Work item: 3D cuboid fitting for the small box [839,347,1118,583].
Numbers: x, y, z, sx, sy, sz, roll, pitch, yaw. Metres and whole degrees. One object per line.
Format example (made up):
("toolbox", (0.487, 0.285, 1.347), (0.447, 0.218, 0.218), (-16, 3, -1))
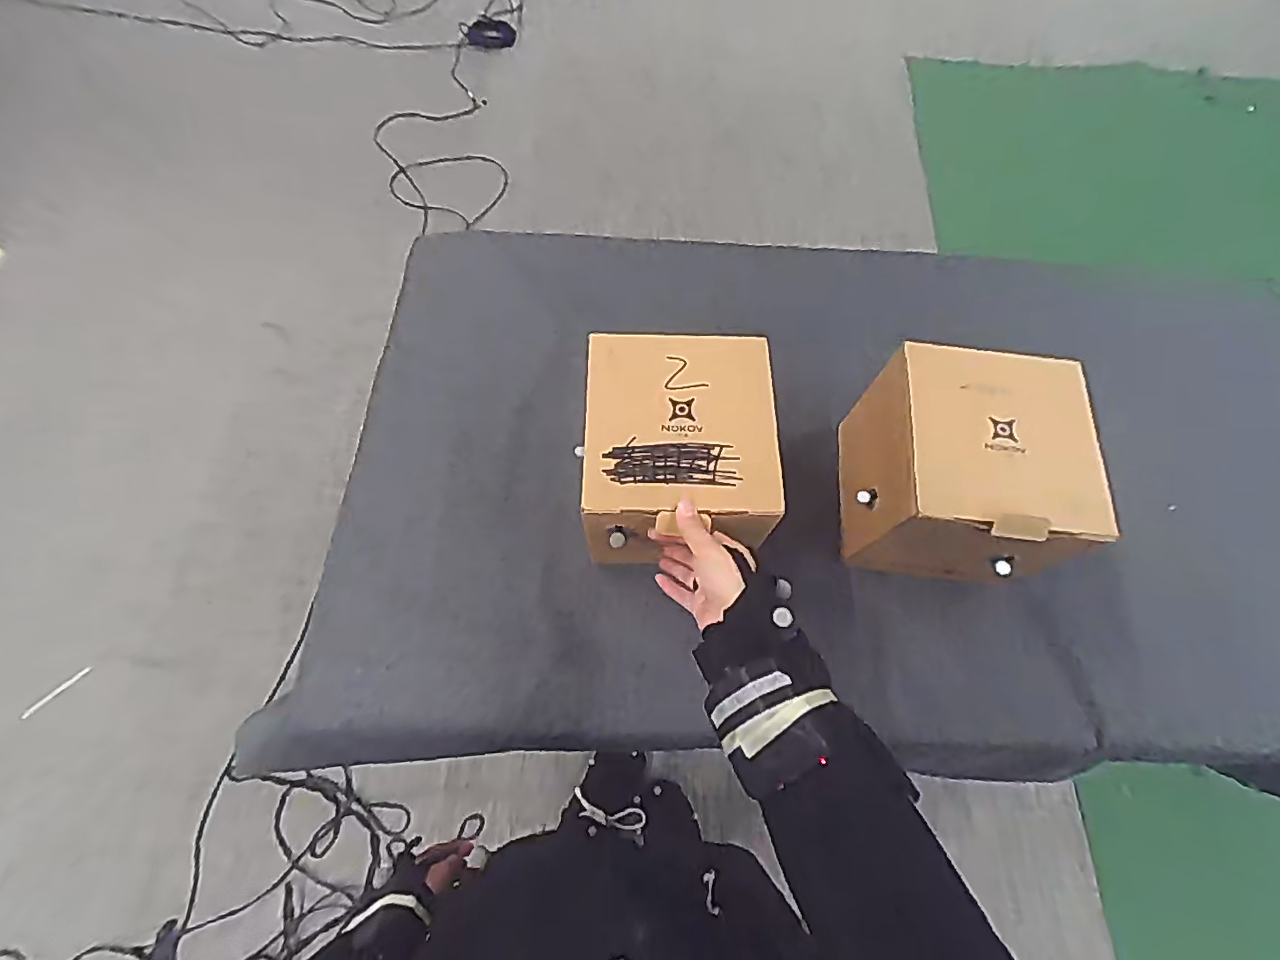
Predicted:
("small box", (0.311, -0.004, 0.542), (0.168, 0.176, 0.179), (7, 66, 0))
